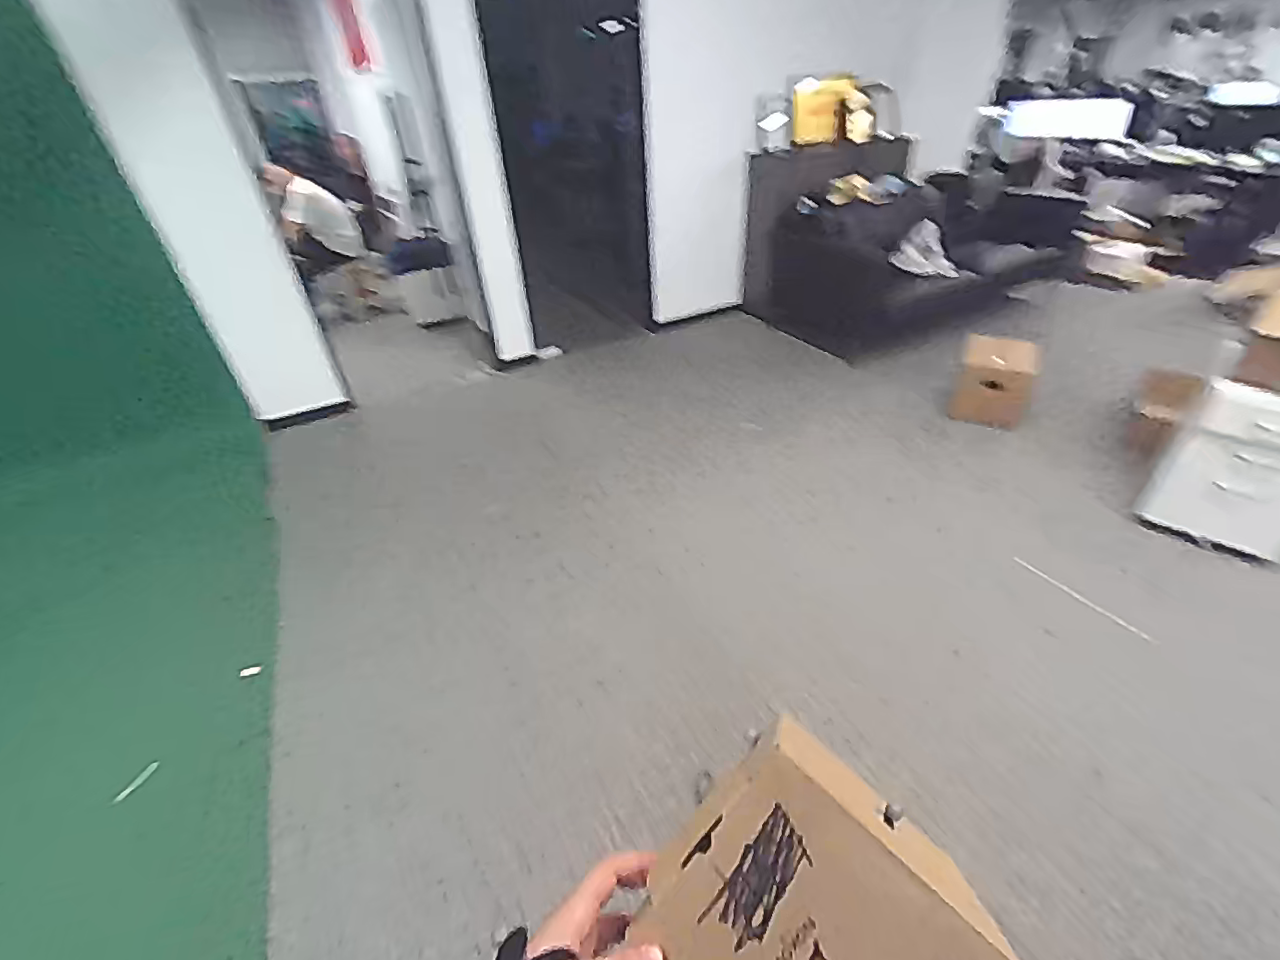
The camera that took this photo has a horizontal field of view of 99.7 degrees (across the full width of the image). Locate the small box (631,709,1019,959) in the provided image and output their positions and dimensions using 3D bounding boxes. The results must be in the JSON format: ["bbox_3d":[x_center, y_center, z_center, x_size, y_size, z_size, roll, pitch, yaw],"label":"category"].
[{"bbox_3d":[0.124,0.297,0.410,0.179,0.176,0.168,36,86,20],"label":"small box"}]
